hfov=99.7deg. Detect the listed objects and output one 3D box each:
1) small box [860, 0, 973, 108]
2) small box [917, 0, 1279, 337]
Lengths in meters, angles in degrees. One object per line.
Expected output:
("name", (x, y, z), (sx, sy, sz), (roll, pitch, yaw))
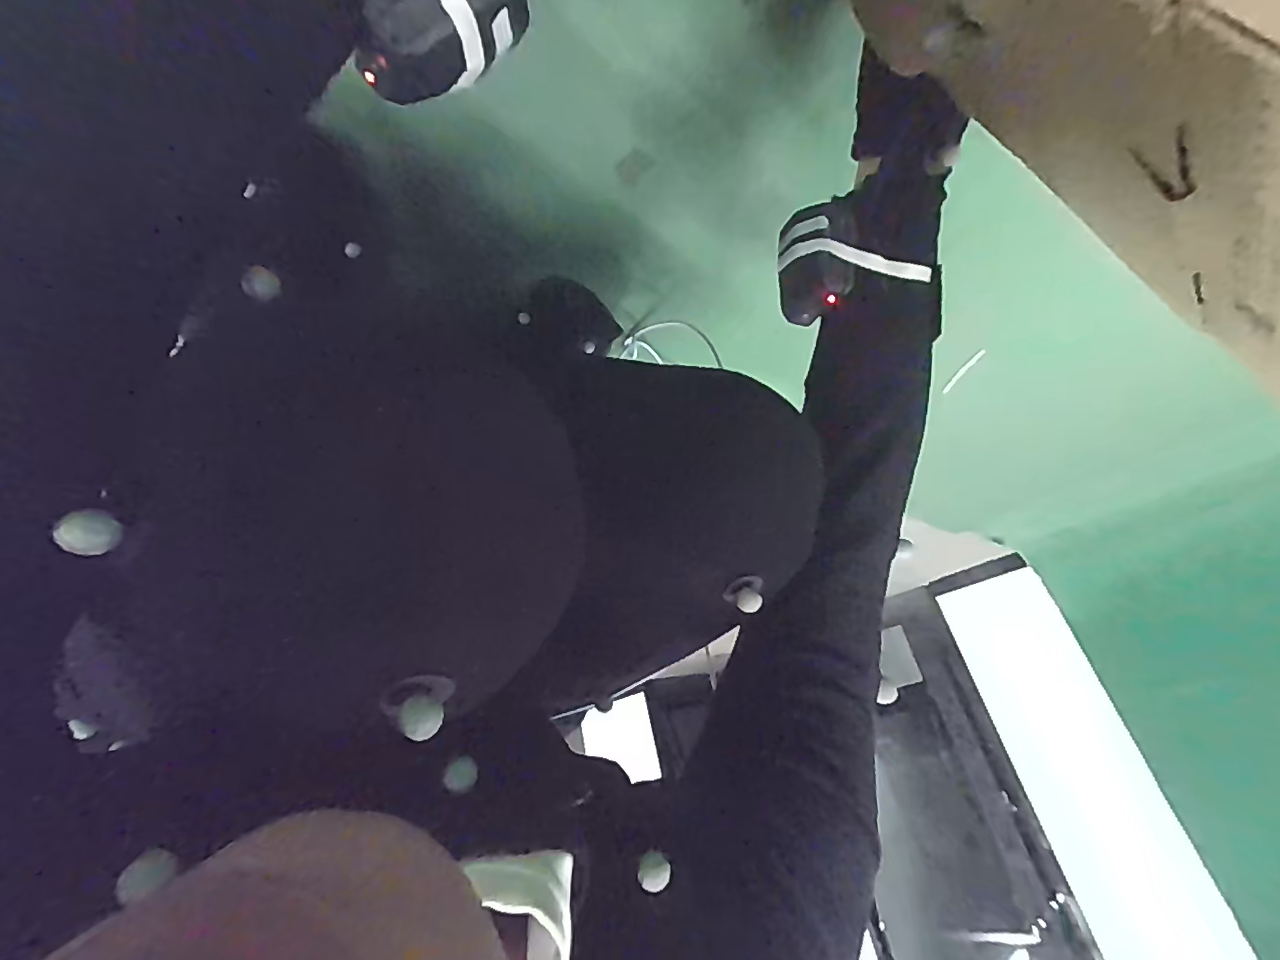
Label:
("small box", (0.151, -0.316, 0.213), (0.168, 0.176, 0.179), (14, 142, -44))
("small box", (0.189, -0.177, 0.138), (0.168, 0.176, 0.179), (11, 143, -43))
